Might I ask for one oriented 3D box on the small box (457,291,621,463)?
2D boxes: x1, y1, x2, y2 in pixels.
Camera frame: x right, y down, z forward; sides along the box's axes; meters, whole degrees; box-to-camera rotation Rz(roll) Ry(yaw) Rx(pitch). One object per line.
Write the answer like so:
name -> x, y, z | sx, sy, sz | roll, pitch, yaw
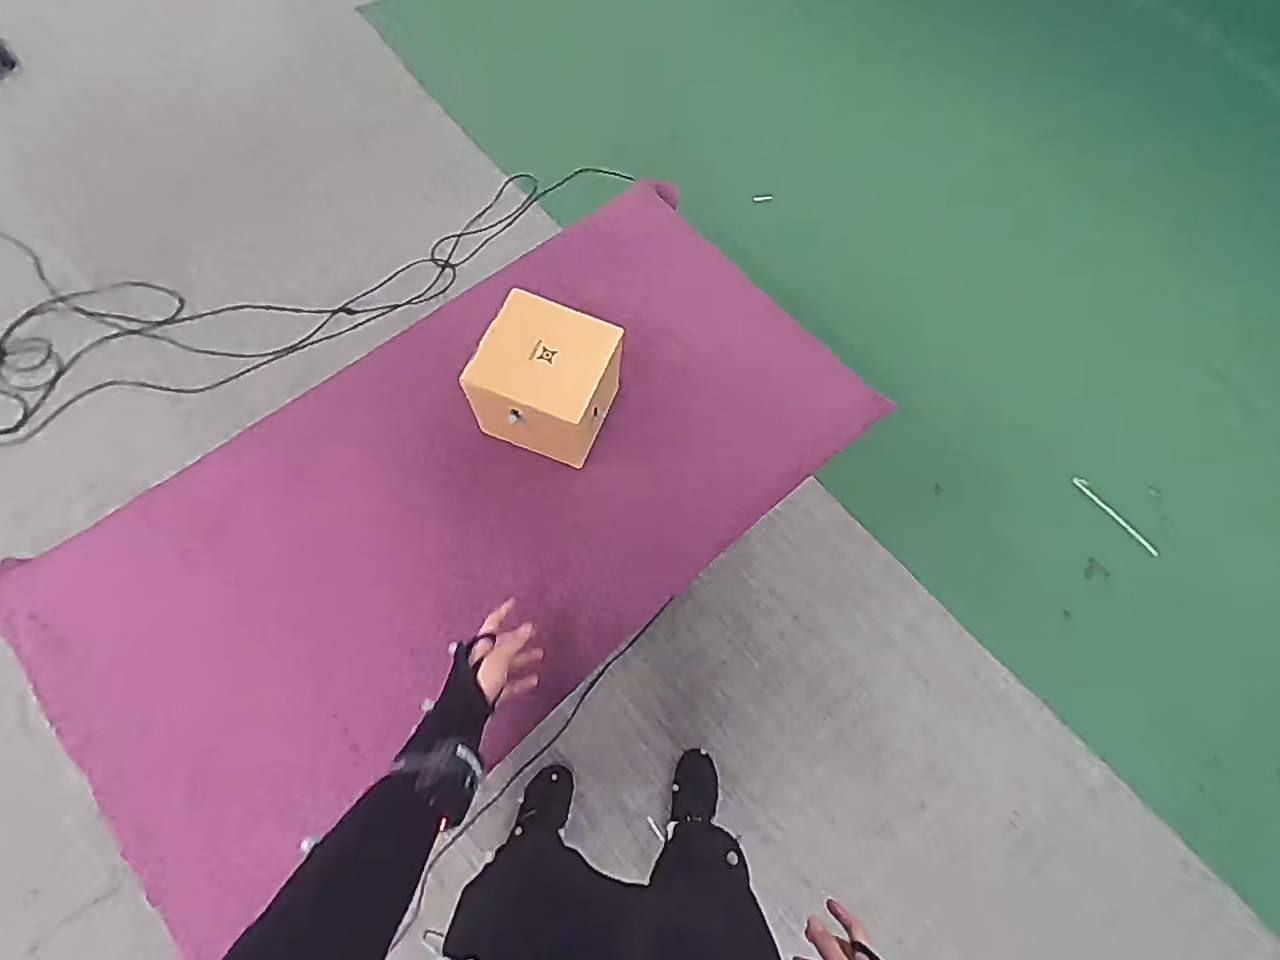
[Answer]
small box -> -0.139, -0.143, 0.812 | 0.179, 0.176, 0.168 | 21, 71, 4
